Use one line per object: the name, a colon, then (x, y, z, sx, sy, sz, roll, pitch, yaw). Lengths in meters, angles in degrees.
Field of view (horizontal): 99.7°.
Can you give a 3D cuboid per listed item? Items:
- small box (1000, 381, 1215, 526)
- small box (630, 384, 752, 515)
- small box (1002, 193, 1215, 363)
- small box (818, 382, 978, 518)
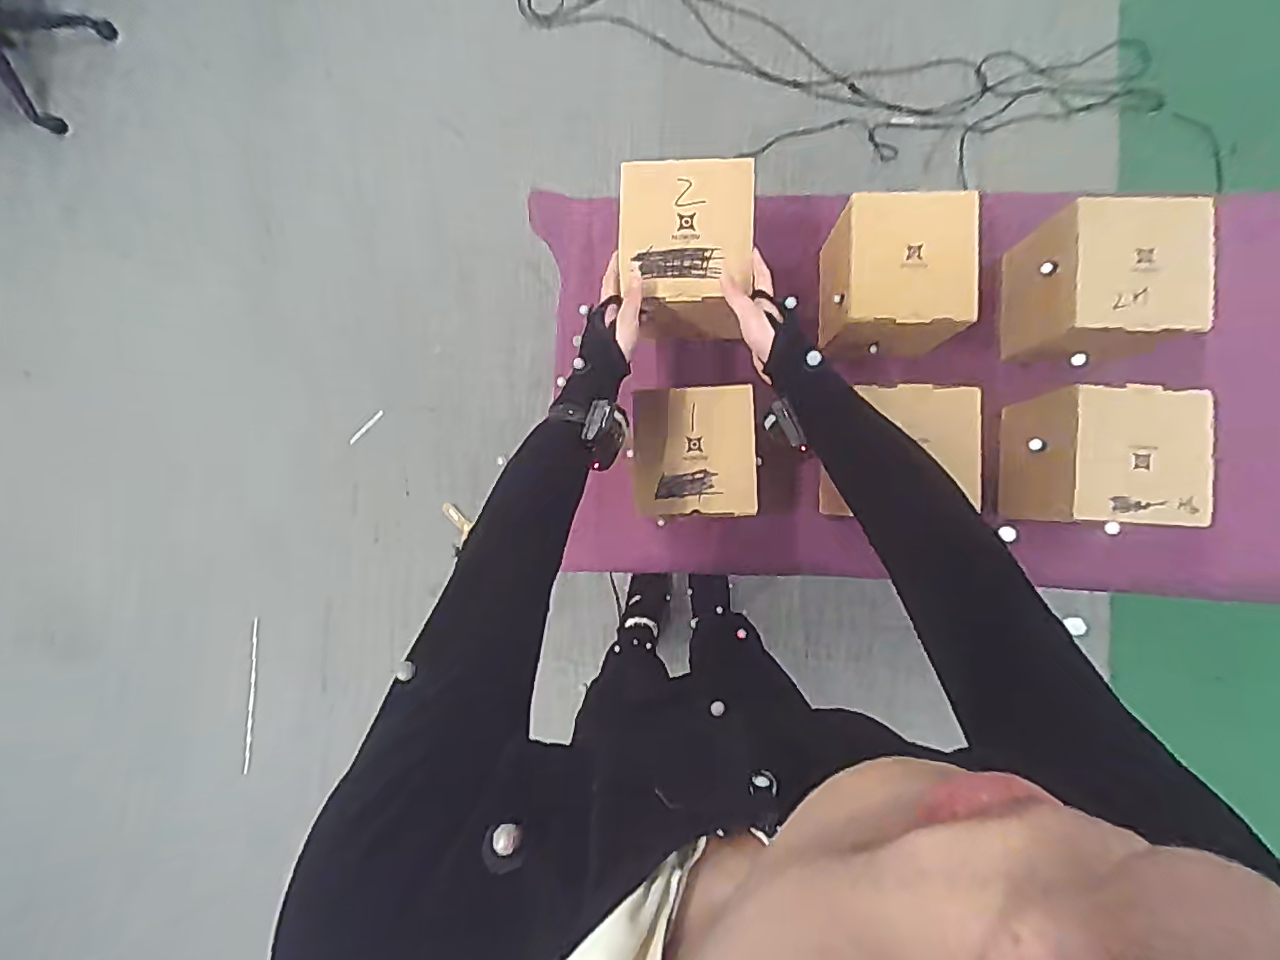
small box: (0.637, -0.029, 0.757, 0.168, 0.176, 0.179, 4, 87, 6)
small box: (0.076, -0.036, 0.808, 0.168, 0.176, 0.179, -1, 85, 5)
small box: (0.647, -0.276, 0.767, 0.168, 0.176, 0.179, 3, 88, 6)
small box: (0.361, -0.036, 0.785, 0.168, 0.176, 0.179, 2, 88, 6)
